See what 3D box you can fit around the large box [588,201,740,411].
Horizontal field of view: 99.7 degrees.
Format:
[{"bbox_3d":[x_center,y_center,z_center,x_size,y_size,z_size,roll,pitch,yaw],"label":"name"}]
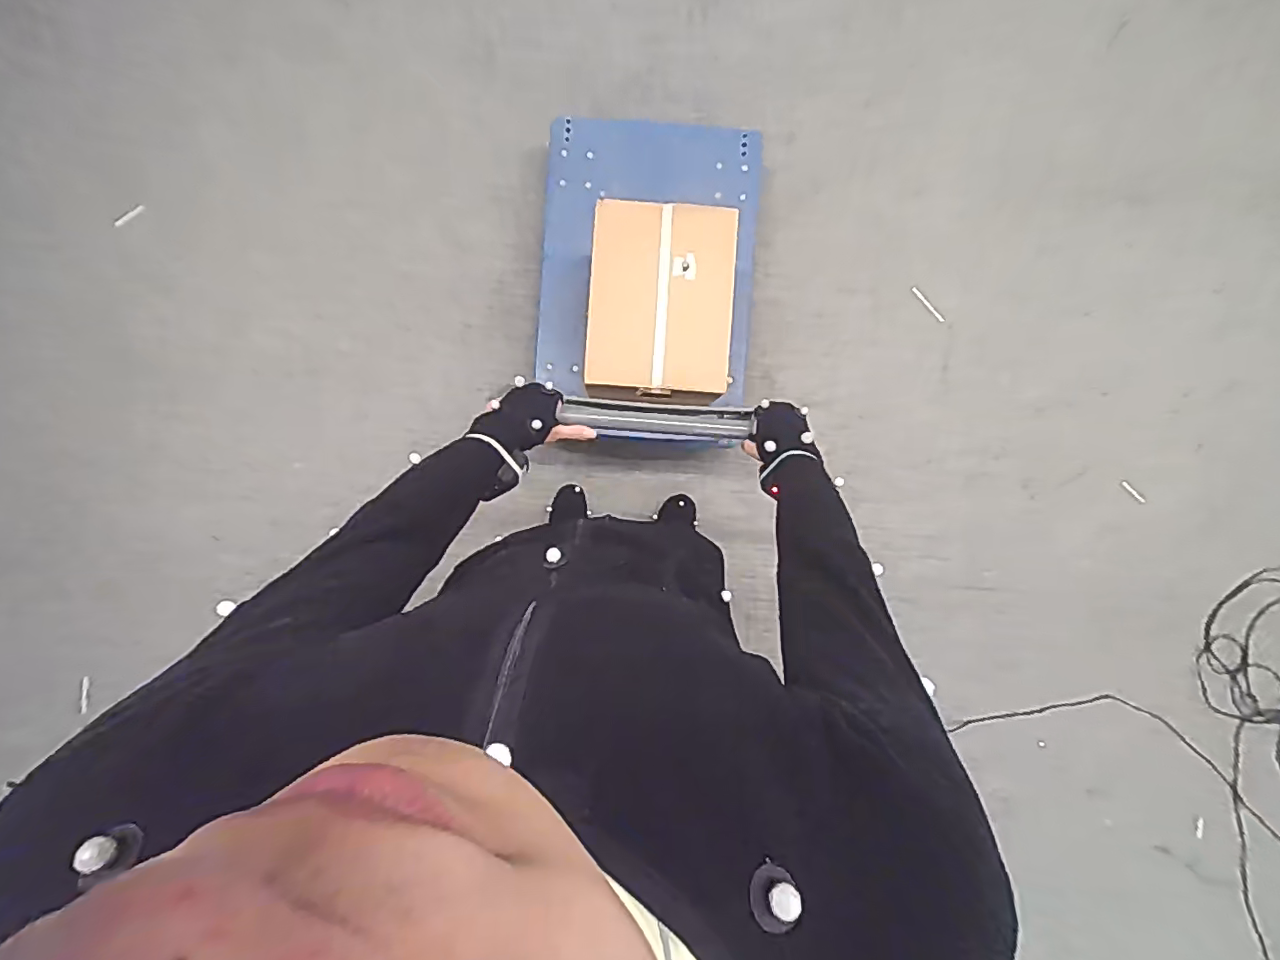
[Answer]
[{"bbox_3d":[0.049,-0.389,1.305,0.320,0.320,0.408,4,89,-2],"label":"large box"}]
